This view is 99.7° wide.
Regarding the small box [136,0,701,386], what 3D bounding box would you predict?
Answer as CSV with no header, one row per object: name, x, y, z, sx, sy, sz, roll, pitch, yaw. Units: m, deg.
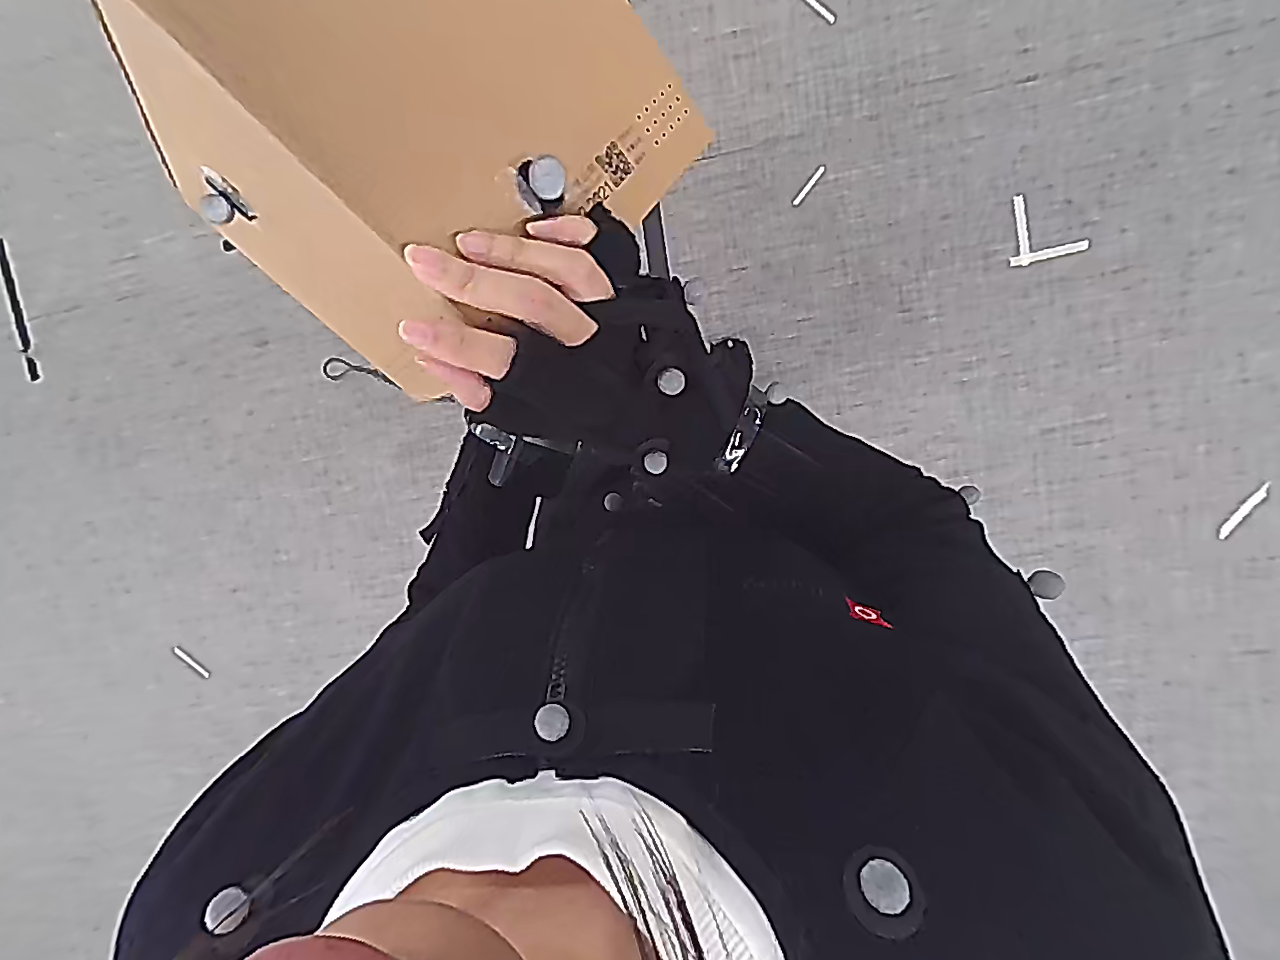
small box,-0.103,-0.168,0.298,0.176,0.179,0.168,44,70,-26
